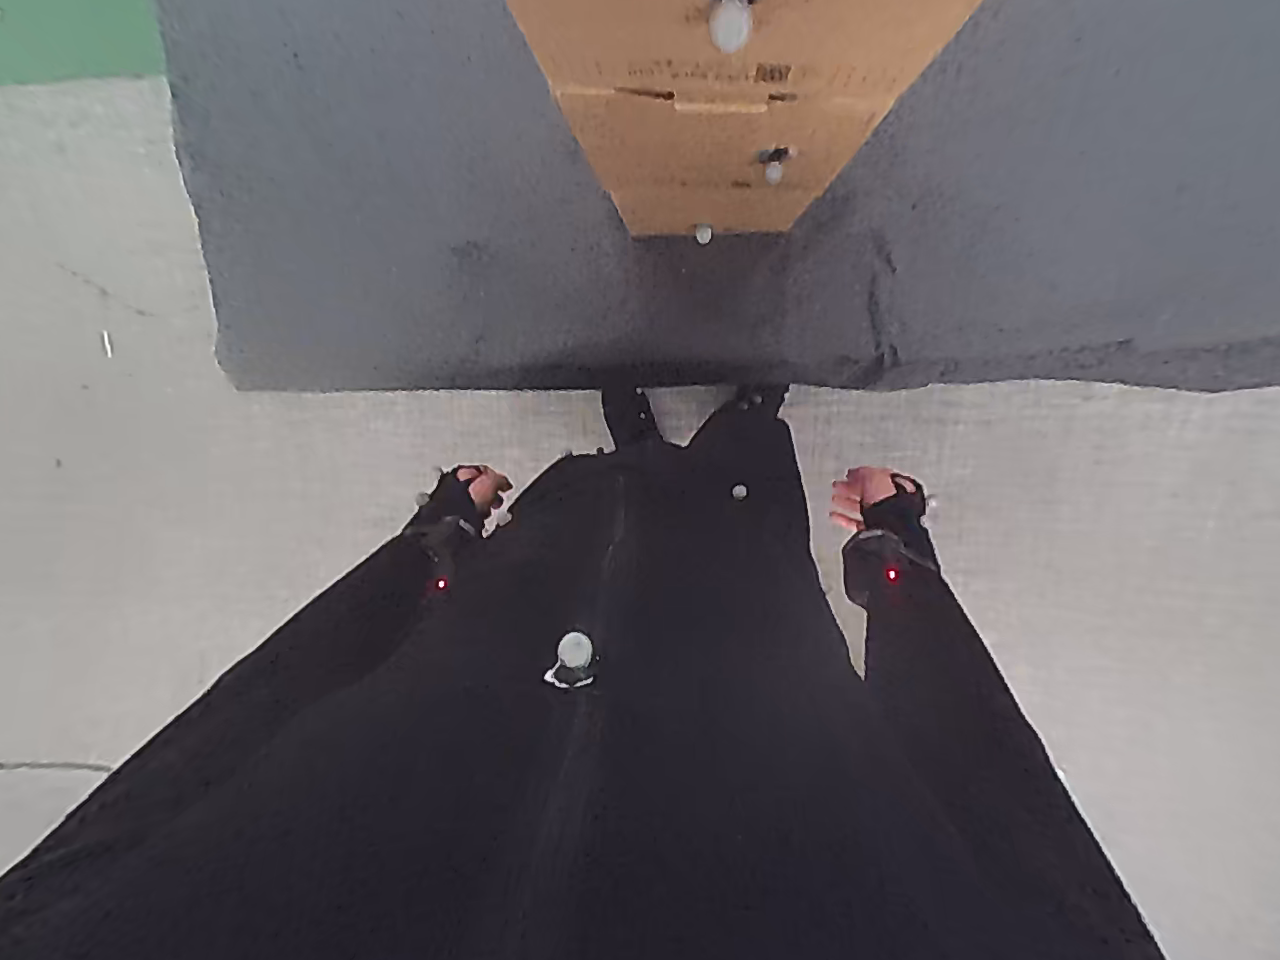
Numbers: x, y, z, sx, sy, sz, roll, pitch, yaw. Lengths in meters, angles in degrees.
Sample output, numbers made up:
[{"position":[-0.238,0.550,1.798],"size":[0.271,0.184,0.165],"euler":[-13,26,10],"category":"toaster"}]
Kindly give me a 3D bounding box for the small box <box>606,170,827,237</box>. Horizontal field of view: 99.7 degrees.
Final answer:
[{"position":[0.063,-0.319,0.461],"size":[0.168,0.176,0.179],"euler":[1,105,6],"category":"small box"}]

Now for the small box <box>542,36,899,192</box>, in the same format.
[{"position":[0.046,-0.278,0.306],"size":[0.168,0.176,0.179],"euler":[3,103,4],"category":"small box"}]

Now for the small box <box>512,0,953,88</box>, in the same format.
[{"position":[0.033,-0.239,0.147],"size":[0.168,0.176,0.179],"euler":[5,105,4],"category":"small box"}]
